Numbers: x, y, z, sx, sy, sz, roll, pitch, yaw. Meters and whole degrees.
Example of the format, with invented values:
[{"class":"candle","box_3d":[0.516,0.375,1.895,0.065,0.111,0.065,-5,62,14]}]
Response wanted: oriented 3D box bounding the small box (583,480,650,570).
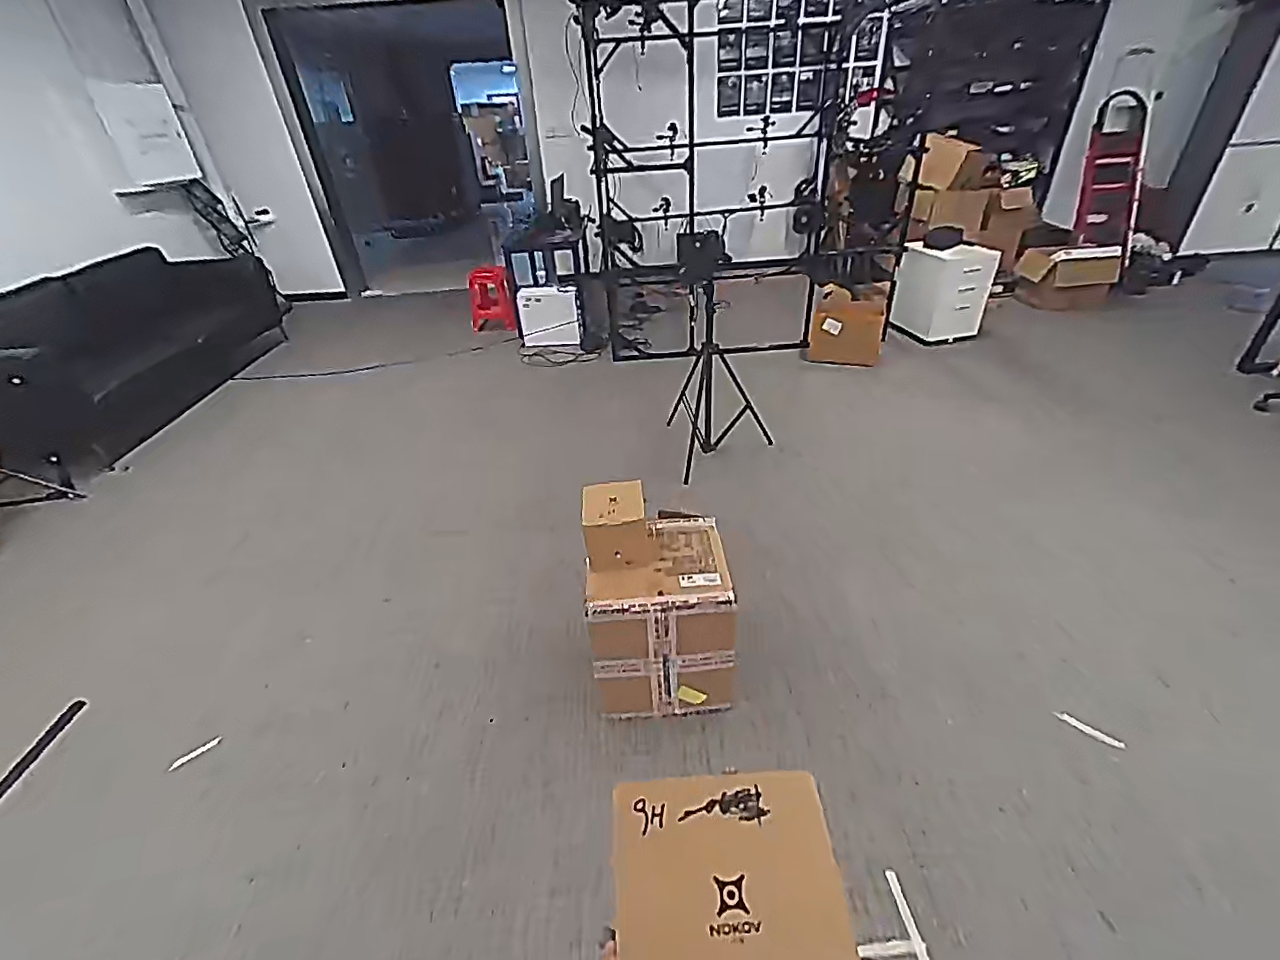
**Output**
[{"class":"small box","box_3d":[-0.064,0.125,1.501,0.168,0.176,0.179,-7,37,0]}]
